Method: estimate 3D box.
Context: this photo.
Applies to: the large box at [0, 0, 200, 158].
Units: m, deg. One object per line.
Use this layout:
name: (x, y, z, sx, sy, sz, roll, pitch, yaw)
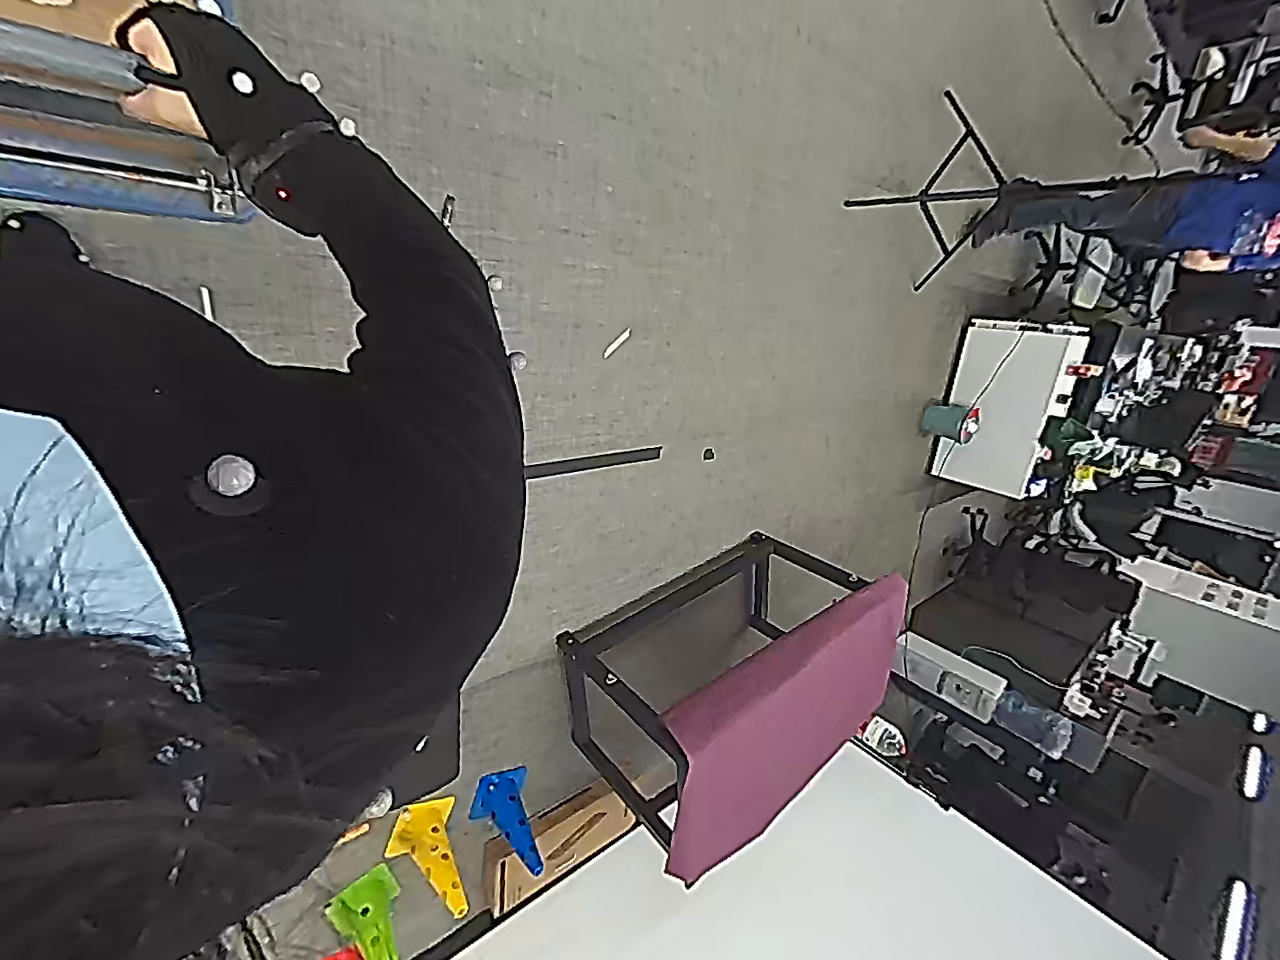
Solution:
large box: (-0.815, -0.620, 0.644, 0.408, 0.320, 0.320, -10, 114, -40)
